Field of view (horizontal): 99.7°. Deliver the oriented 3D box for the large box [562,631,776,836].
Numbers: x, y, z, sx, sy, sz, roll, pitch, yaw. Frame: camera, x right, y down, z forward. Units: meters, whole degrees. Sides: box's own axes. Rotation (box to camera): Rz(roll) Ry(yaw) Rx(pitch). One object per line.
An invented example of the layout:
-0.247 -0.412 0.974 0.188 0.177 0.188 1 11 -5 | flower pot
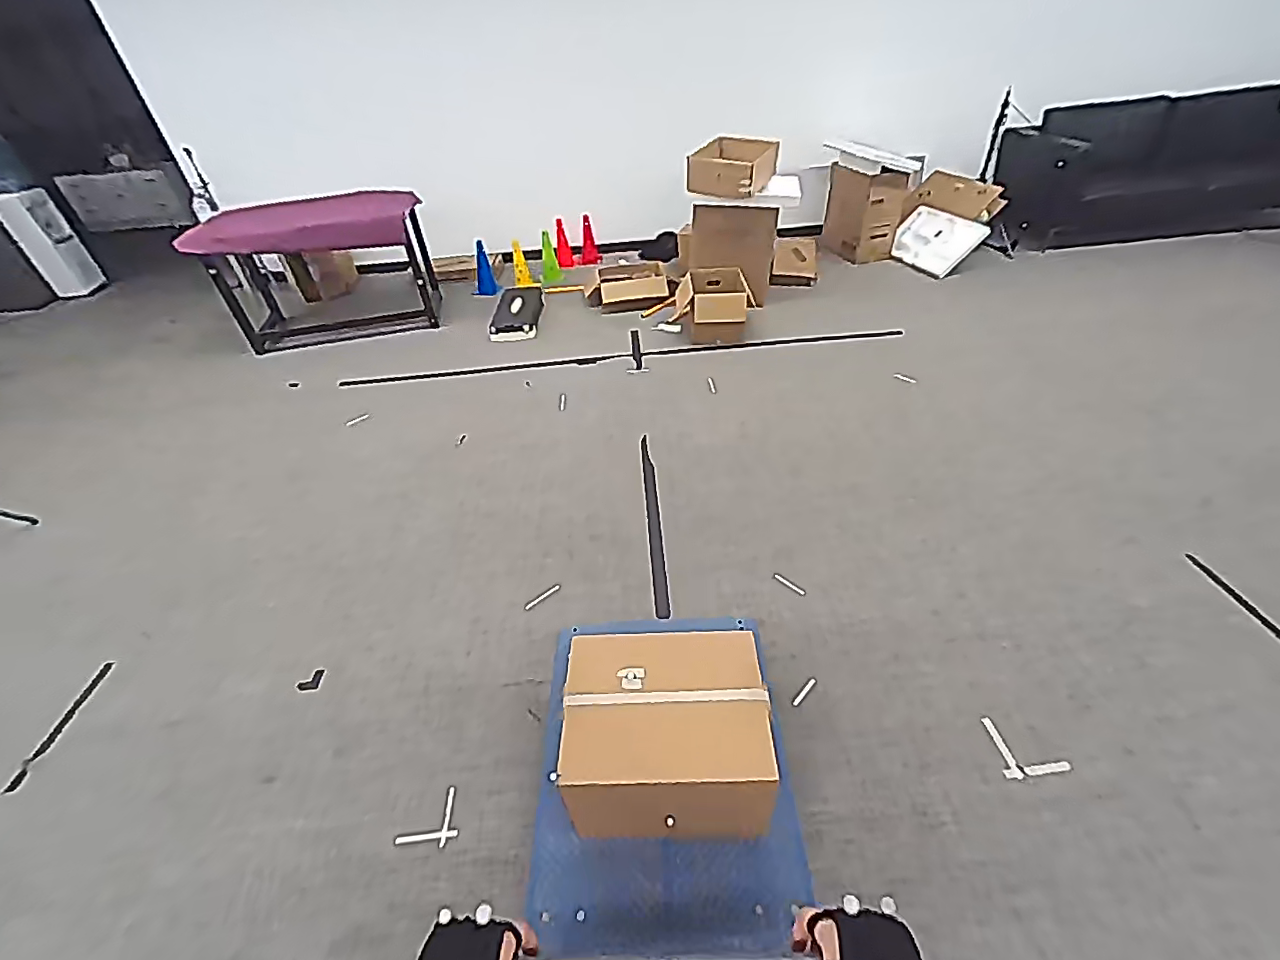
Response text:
0.064 0.565 1.203 0.408 0.320 0.320 -4 39 3 | large box
